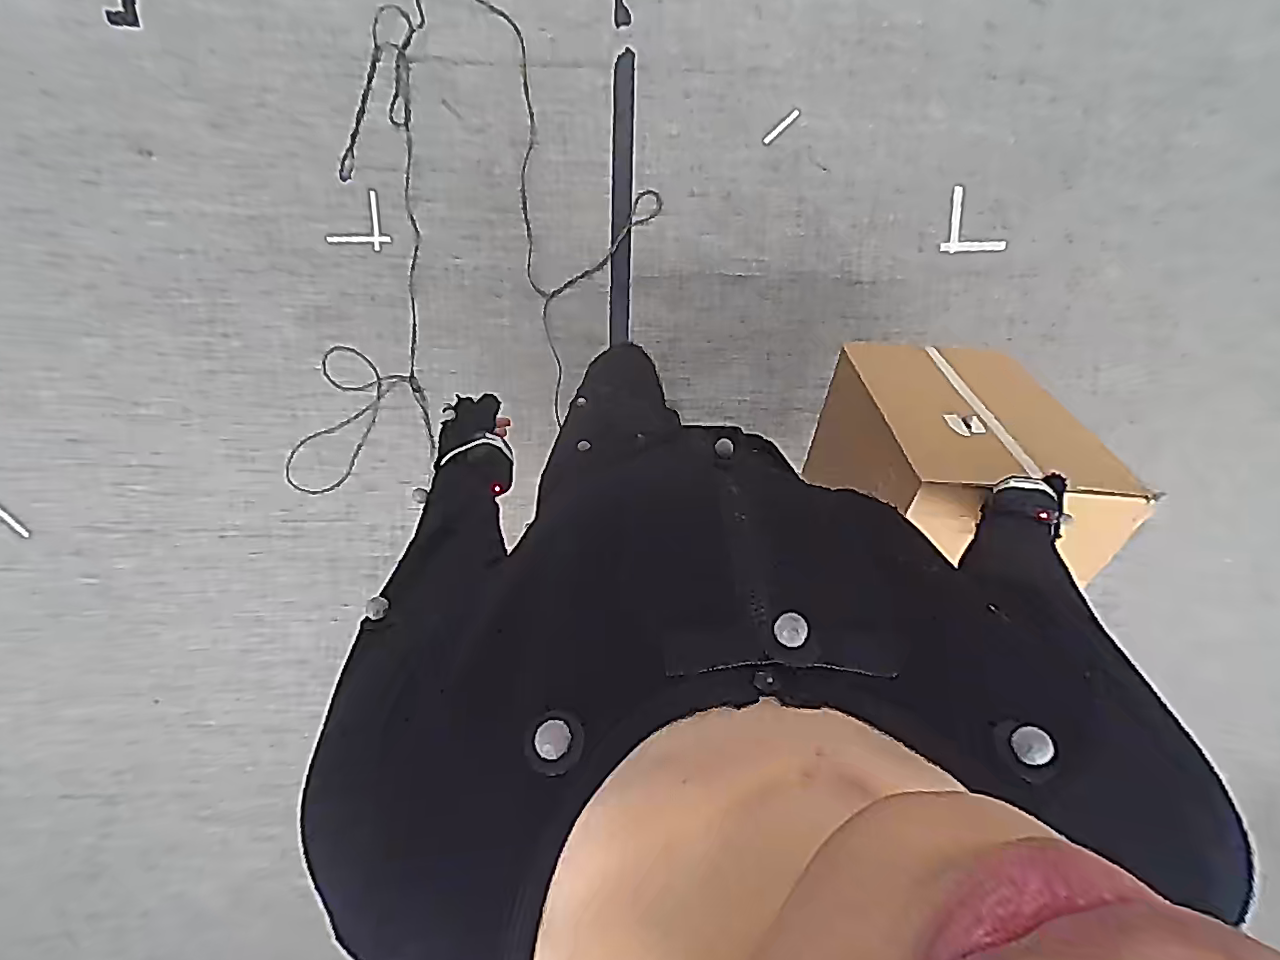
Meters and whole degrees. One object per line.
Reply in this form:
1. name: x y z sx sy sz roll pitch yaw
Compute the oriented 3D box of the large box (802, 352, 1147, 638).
1. large box: 0.513 0.014 0.955 0.320 0.408 0.320 4 130 0
